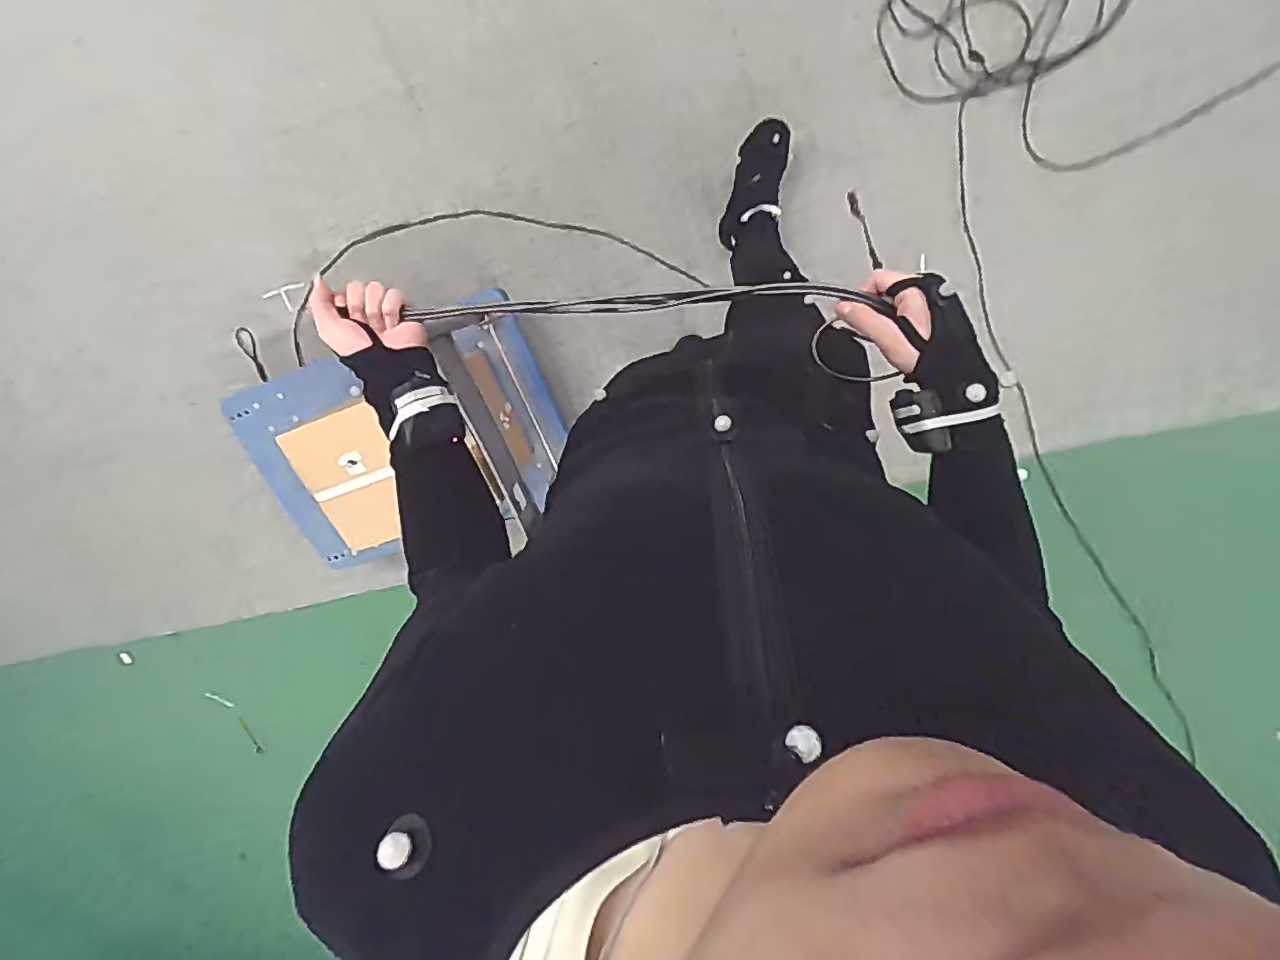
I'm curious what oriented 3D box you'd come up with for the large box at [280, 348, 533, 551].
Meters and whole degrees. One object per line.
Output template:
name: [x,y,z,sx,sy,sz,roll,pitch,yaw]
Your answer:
large box: [-0.531,-0.084,1.313,0.408,0.320,0.320,-18,111,12]
